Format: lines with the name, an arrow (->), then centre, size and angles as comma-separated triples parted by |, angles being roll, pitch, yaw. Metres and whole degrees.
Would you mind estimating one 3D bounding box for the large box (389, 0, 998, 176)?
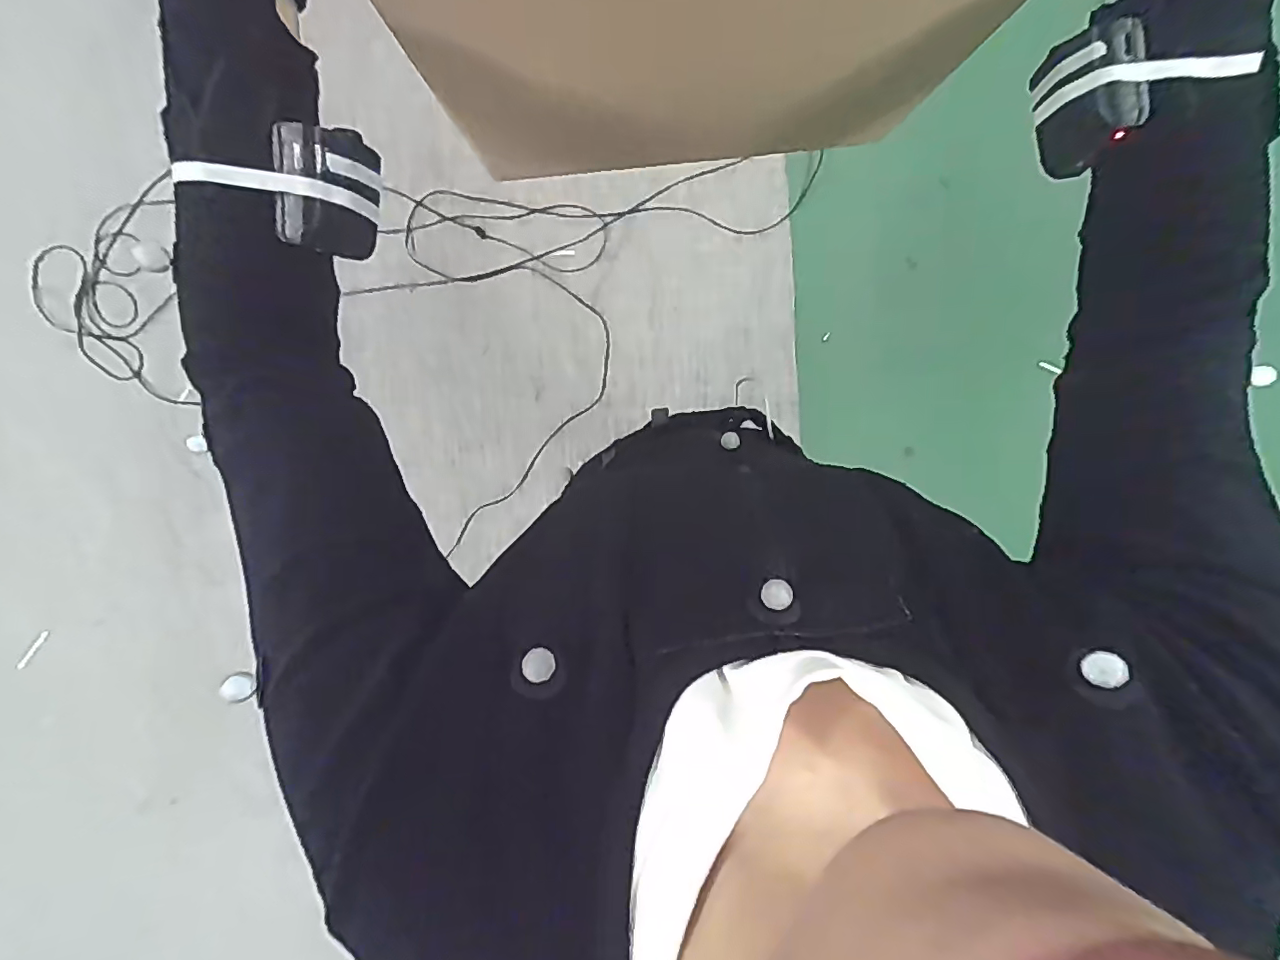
large box -> 0.031, -0.454, 0.381 | 0.408, 0.320, 0.320 | -6, 101, -1
